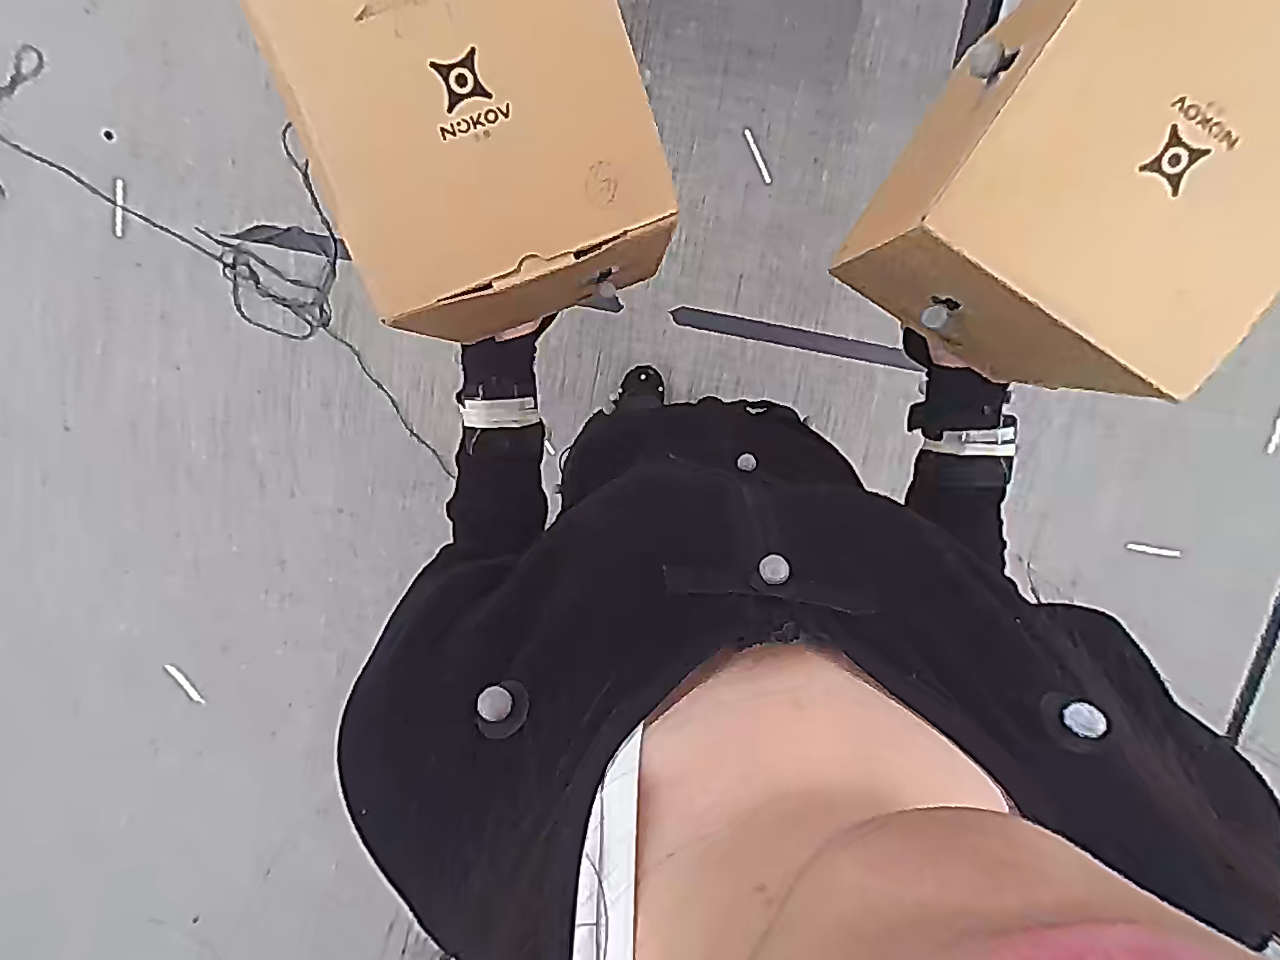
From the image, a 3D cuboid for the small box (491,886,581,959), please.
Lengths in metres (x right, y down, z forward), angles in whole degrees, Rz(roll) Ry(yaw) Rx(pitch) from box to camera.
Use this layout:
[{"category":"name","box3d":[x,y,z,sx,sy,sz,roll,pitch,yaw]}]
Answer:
[{"category":"small box","box3d":[-0.222,0.995,1.121,0.168,0.176,0.179,14,99,-2]}]

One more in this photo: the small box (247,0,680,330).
[{"category":"small box","box3d":[-0.086,-0.202,0.337,0.168,0.176,0.179,-21,101,0]}]

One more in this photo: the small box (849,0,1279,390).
[{"category":"small box","box3d":[0.254,-0.174,0.328,0.168,0.176,0.179,31,102,-4]}]
